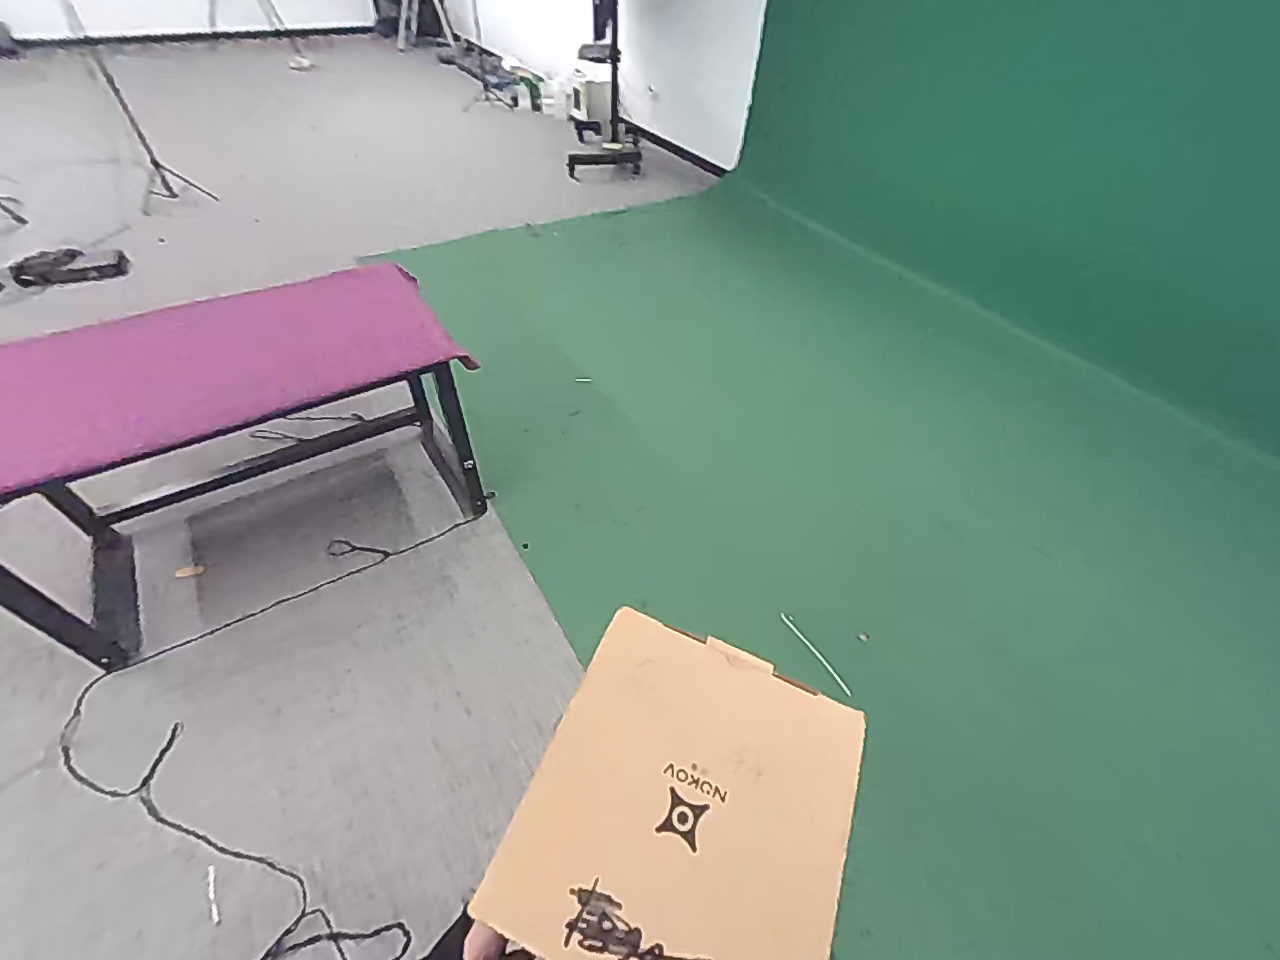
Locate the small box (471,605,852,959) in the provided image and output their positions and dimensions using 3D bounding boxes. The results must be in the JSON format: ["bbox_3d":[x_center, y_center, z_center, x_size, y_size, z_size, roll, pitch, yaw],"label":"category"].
[{"bbox_3d":[0.016,0.220,0.358,0.168,0.176,0.179,22,53,11],"label":"small box"}]
